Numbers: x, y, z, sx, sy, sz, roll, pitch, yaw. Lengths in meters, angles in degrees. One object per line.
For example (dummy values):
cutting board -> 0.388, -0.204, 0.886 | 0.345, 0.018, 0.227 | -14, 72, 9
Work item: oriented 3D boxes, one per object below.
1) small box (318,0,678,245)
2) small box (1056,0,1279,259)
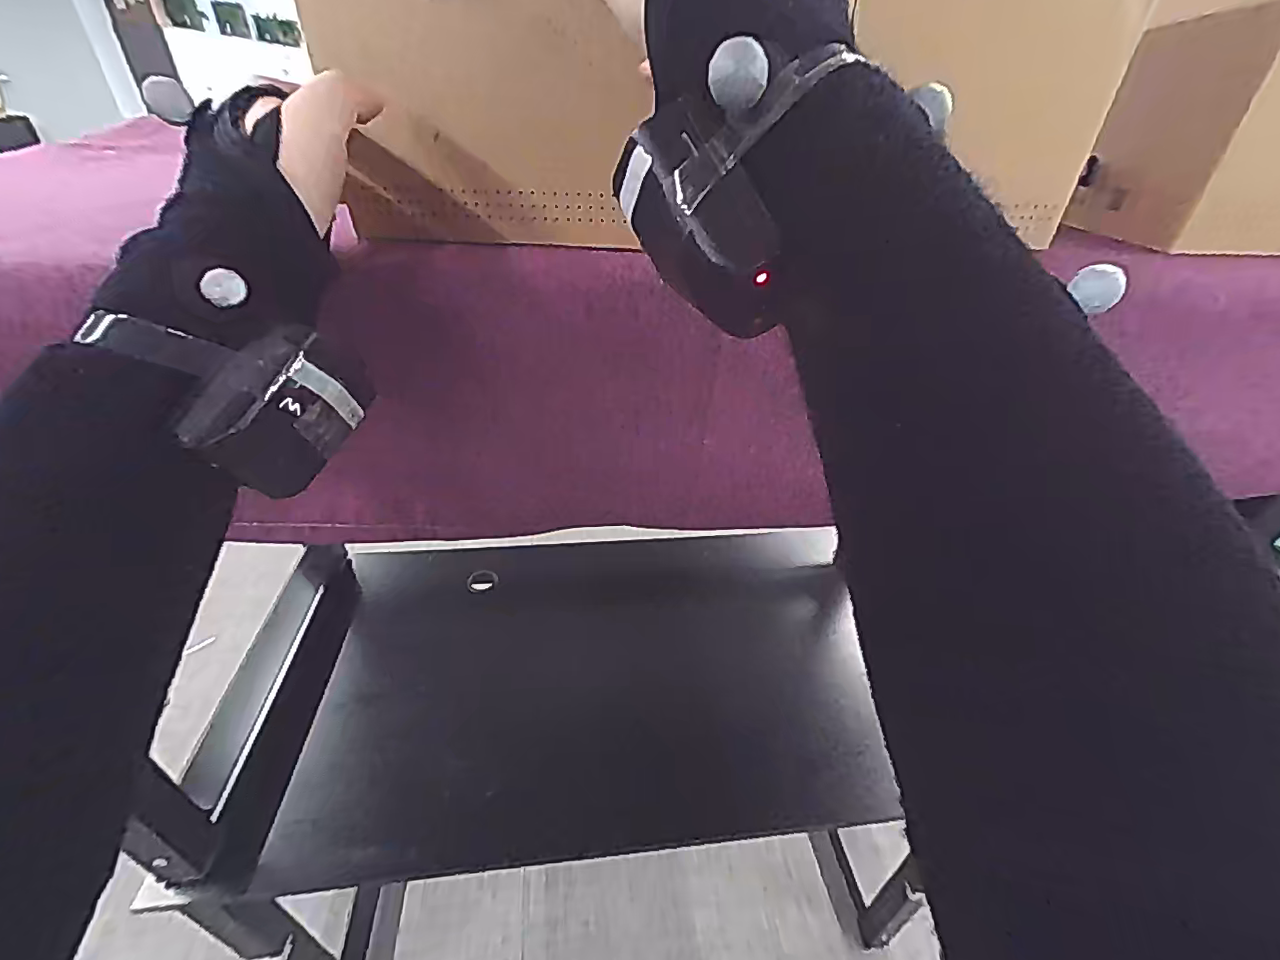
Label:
small box -> -0.069, -0.246, 0.324 | 0.179, 0.176, 0.168 | 4, 36, 2
small box -> 0.431, -0.256, 0.372 | 0.179, 0.176, 0.168 | 0, 34, -2
